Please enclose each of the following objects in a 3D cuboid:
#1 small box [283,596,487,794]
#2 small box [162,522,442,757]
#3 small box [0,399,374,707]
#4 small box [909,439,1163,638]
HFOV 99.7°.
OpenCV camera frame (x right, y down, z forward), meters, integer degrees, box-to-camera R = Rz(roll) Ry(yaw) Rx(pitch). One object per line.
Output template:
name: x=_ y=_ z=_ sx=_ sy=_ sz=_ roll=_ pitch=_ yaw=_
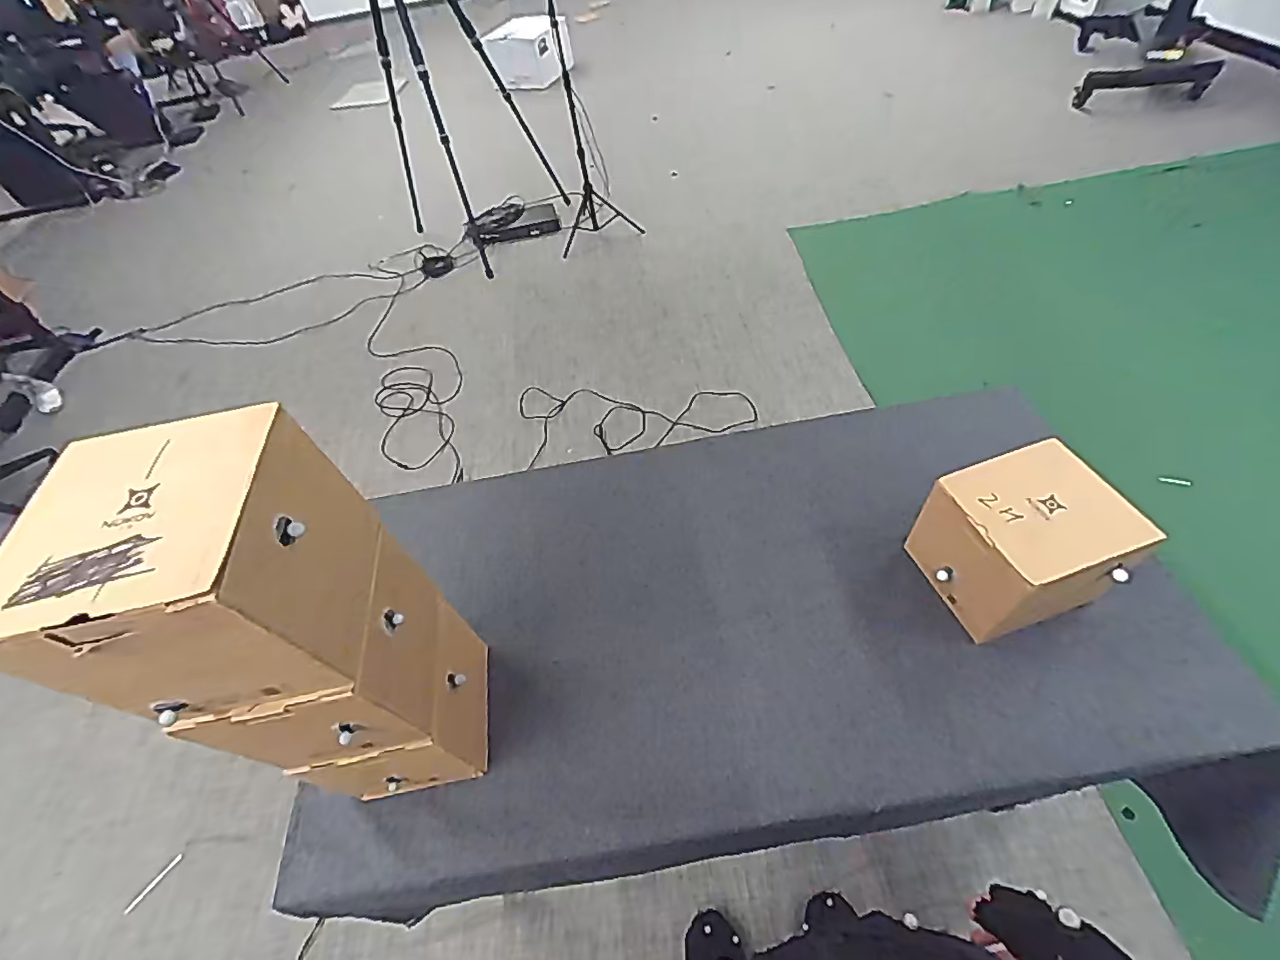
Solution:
small box: x=-0.302 y=0.274 z=0.686 sx=0.168 sy=0.176 sz=0.179 roll=-12 pitch=52 yaw=-1
small box: x=-0.320 y=0.172 z=0.560 sx=0.168 sy=0.176 sz=0.179 roll=-11 pitch=52 yaw=-1
small box: x=-0.340 y=0.067 z=0.436 sx=0.168 sy=0.176 sz=0.179 roll=-11 pitch=52 yaw=-2
small box: x=0.490 y=0.080 z=0.705 sx=0.179 sy=0.176 sz=0.168 roll=-18 pitch=52 yaw=-5
